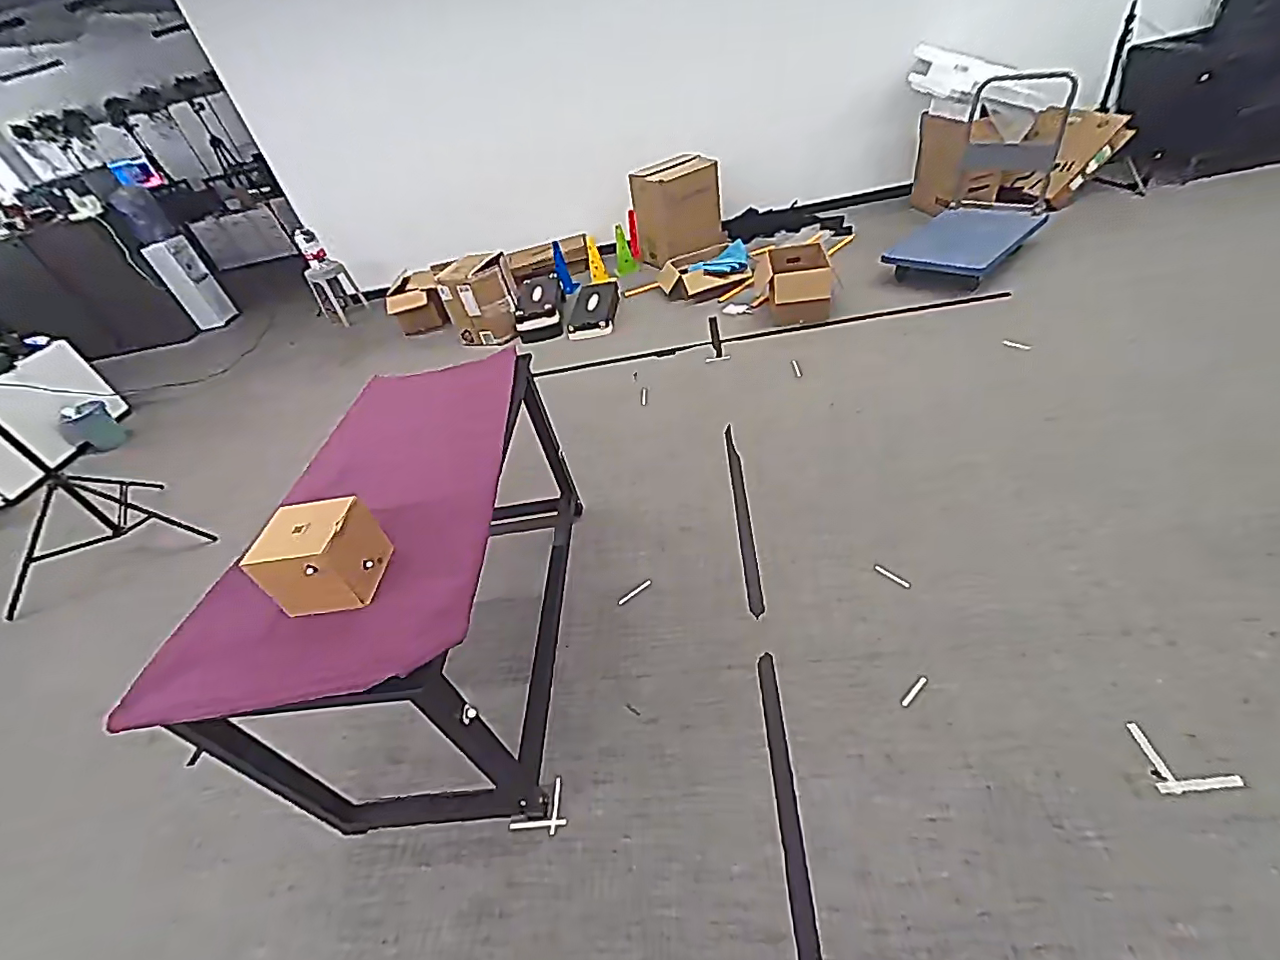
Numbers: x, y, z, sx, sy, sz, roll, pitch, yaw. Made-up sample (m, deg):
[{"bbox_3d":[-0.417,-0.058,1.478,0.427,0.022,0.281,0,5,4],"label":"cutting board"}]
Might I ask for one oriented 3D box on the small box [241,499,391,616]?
[{"bbox_3d":[-0.658,0.164,1.123,0.179,0.176,0.168,-9,40,5],"label":"small box"}]
